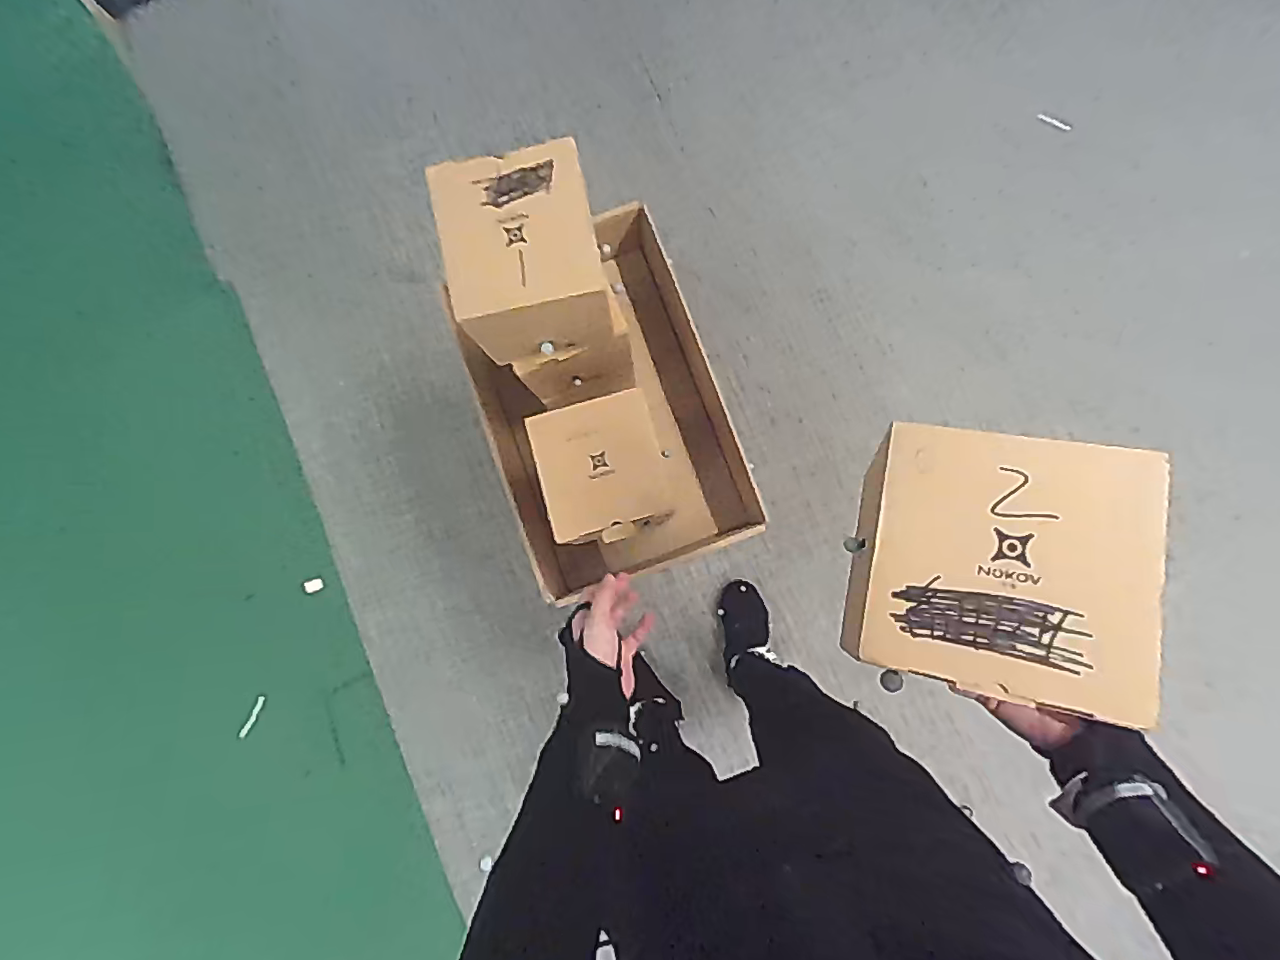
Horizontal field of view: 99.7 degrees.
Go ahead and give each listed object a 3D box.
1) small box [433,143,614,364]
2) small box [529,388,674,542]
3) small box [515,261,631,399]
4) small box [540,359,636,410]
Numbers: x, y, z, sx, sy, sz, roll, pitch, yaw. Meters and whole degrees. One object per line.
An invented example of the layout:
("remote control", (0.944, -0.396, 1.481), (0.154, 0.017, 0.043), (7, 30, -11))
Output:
("small box", (-0.130, -0.263, 0.662), (0.168, 0.176, 0.179), (-12, 85, 1))
("small box", (-0.048, -0.013, 0.795), (0.168, 0.176, 0.179), (-15, 82, 0))
("small box", (-0.119, -0.245, 0.826), (0.168, 0.176, 0.179), (-21, 85, -1))
("small box", (-0.112, -0.232, 0.987), (0.168, 0.176, 0.179), (-21, 85, 1))
